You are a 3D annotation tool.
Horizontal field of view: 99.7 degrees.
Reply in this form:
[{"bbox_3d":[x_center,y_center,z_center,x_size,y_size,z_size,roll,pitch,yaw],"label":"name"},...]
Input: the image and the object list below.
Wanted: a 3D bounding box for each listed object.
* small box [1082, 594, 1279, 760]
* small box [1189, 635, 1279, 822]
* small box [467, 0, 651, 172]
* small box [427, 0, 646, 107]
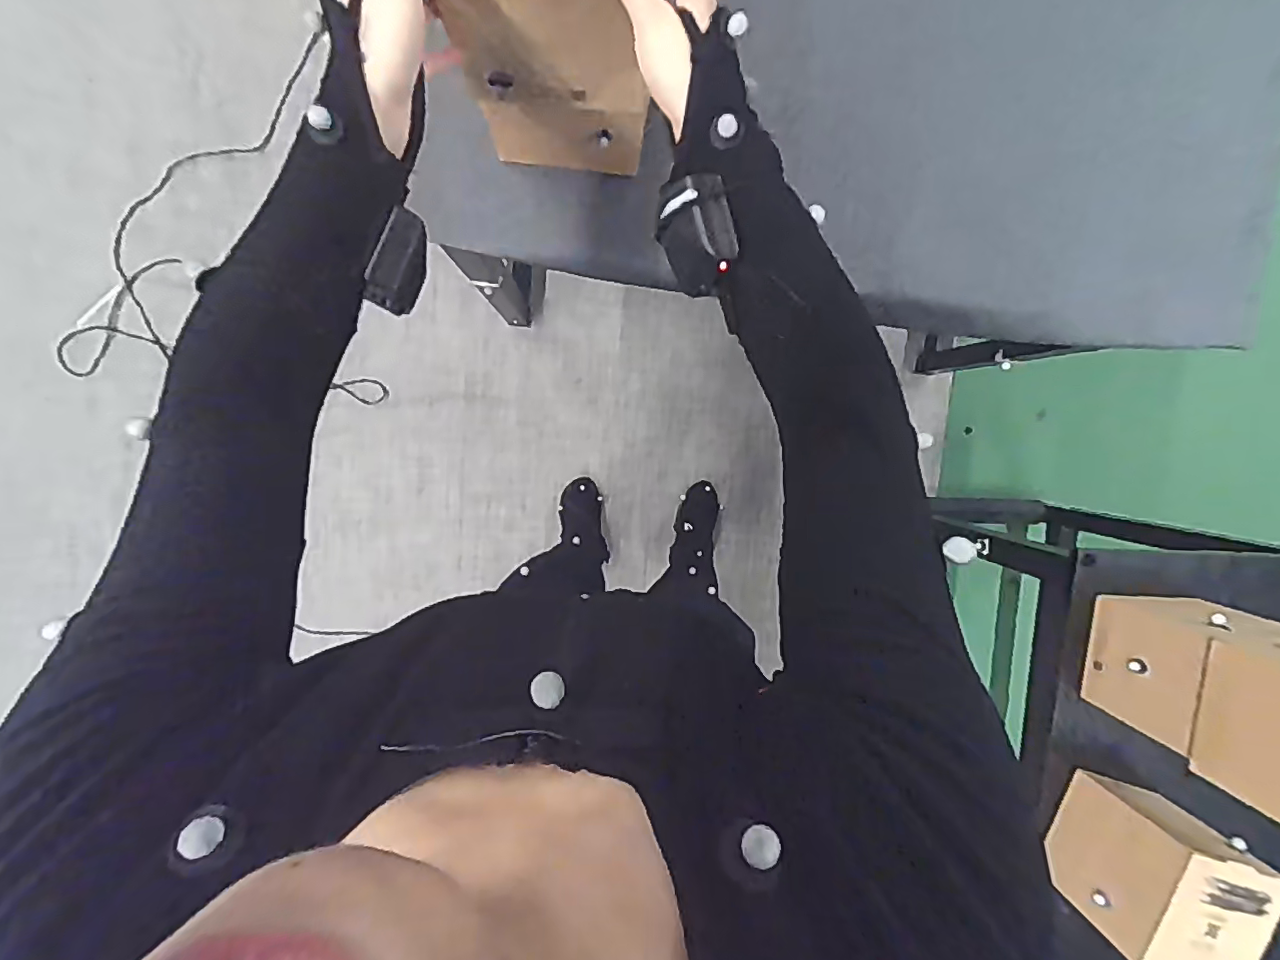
[{"bbox_3d":[0.770,0.265,0.751,0.179,0.176,0.168,3,97,-5],"label":"small box"},{"bbox_3d":[0.767,0.288,0.589,0.168,0.176,0.179,3,96,-5],"label":"small box"},{"bbox_3d":[-0.083,-0.469,0.600,0.179,0.176,0.168,3,93,-4],"label":"small box"},{"bbox_3d":[-0.076,-0.433,0.424,0.168,0.176,0.179,1,92,-5],"label":"small box"}]
